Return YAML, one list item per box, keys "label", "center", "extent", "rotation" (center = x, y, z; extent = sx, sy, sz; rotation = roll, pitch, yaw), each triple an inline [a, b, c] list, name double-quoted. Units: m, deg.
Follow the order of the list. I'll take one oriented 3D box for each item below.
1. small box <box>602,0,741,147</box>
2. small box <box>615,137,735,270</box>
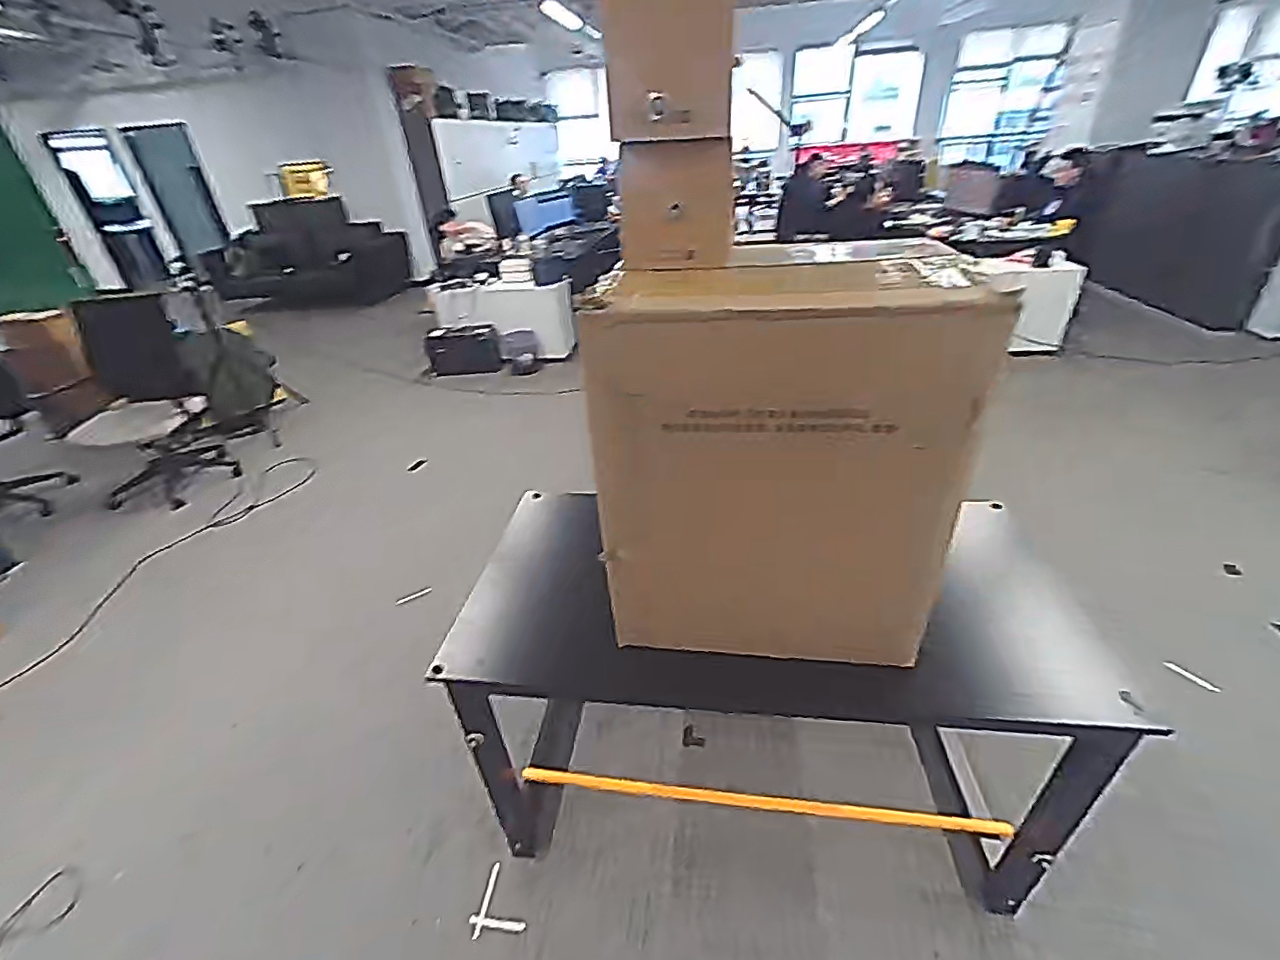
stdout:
- label: "small box"
  center: [0.046, -0.550, 0.729]
  extent: [0.168, 0.176, 0.179]
  rotation: [-1, 32, 6]
- label: "small box"
  center: [0.062, -0.429, 0.843]
  extent: [0.168, 0.176, 0.179]
  rotation: [2, 33, 8]
